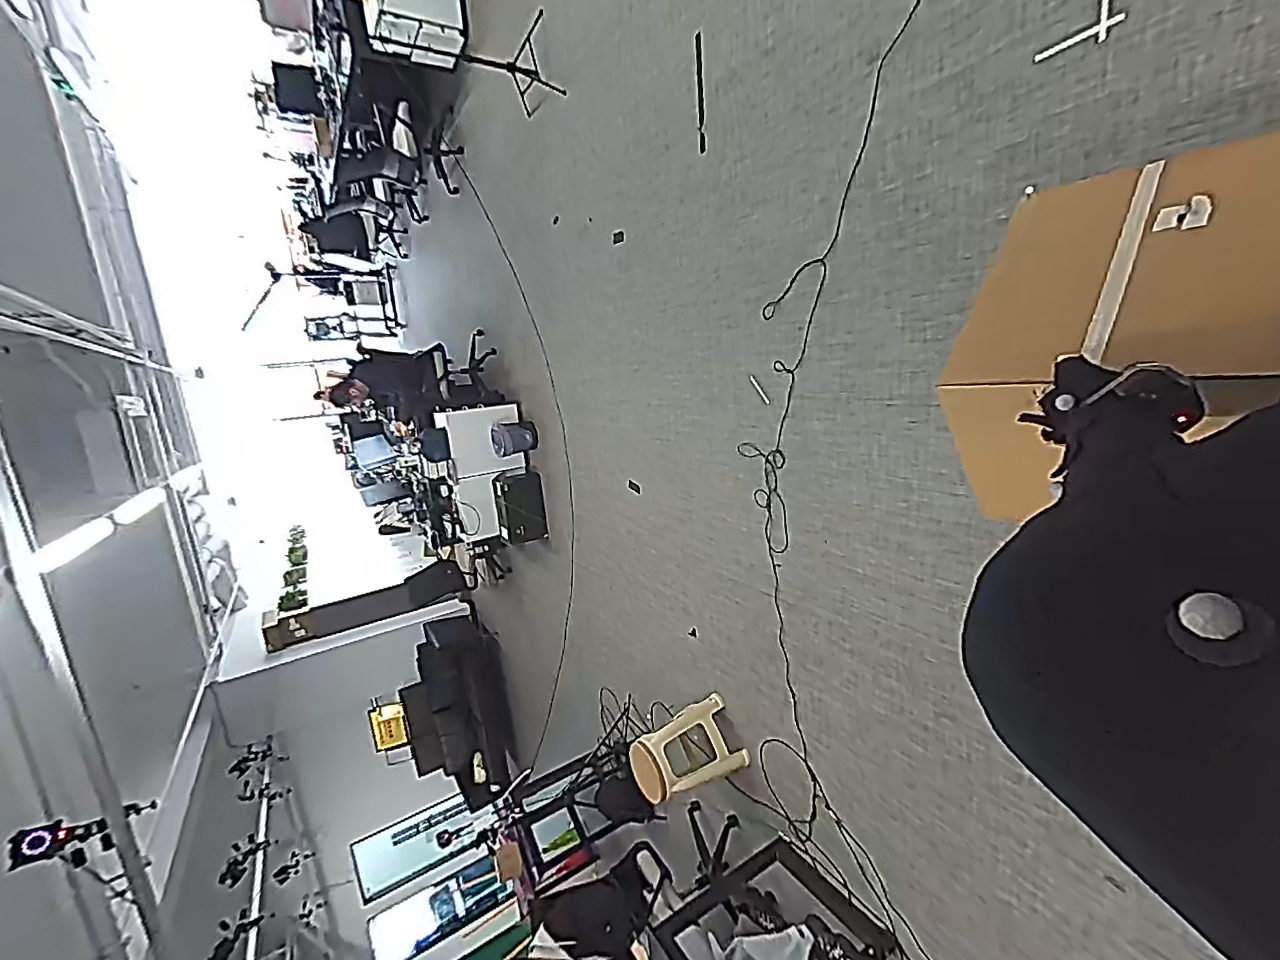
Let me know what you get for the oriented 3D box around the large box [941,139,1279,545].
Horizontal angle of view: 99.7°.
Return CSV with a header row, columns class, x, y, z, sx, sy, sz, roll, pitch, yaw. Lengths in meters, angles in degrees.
class,x,y,z,sx,sy,sz,roll,pitch,yaw
large box,0.685,-0.173,0.755,0.320,0.408,0.320,10,150,50
